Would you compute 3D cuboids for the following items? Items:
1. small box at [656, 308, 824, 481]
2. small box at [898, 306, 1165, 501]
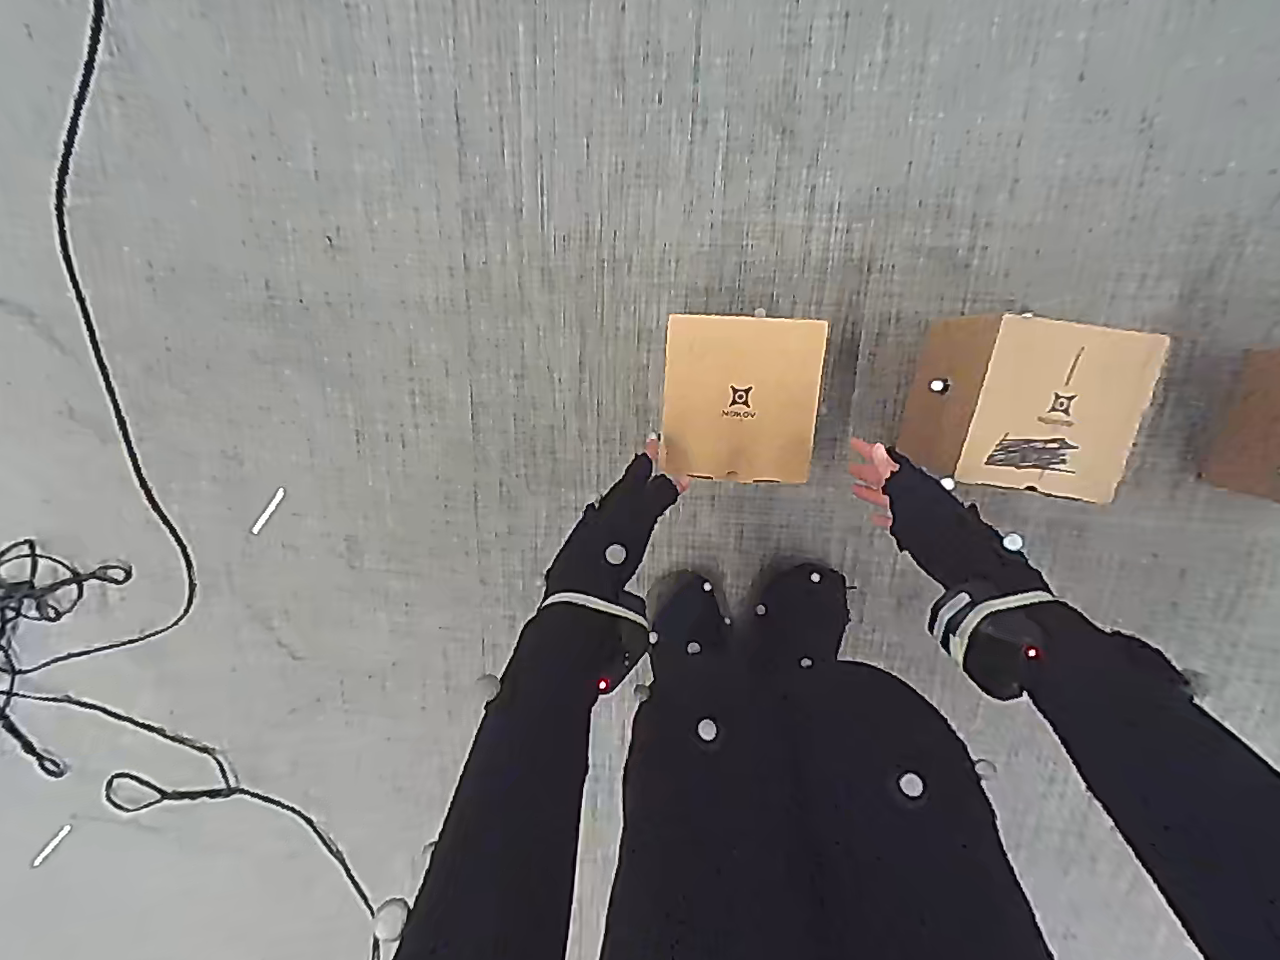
[{"bbox_3d":[0.109,-0.107,0.649,0.168,0.176,0.179,3,105,5],"label":"small box"},{"bbox_3d":[0.422,-0.092,0.623,0.168,0.176,0.179,9,103,2],"label":"small box"}]
